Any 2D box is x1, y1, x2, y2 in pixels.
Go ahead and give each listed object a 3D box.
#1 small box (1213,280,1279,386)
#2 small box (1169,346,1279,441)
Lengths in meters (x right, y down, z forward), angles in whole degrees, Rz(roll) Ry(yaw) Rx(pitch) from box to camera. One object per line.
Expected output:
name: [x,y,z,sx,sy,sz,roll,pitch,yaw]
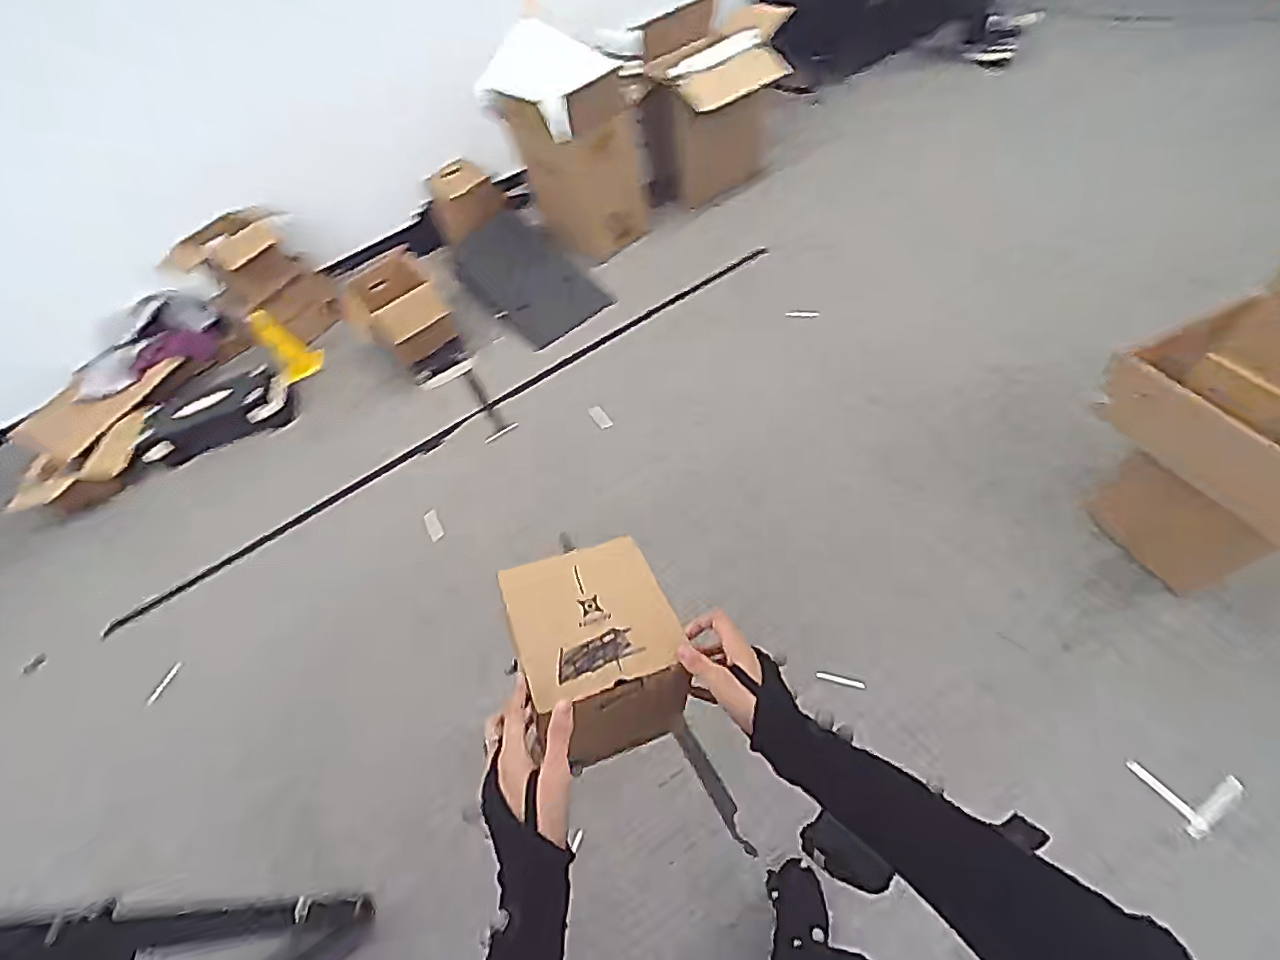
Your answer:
small box: [1.342,-0.312,1.086,0.168,0.176,0.179,-24,53,-5]
small box: [1.365,-0.217,1.219,0.179,0.176,0.168,-26,54,-6]
